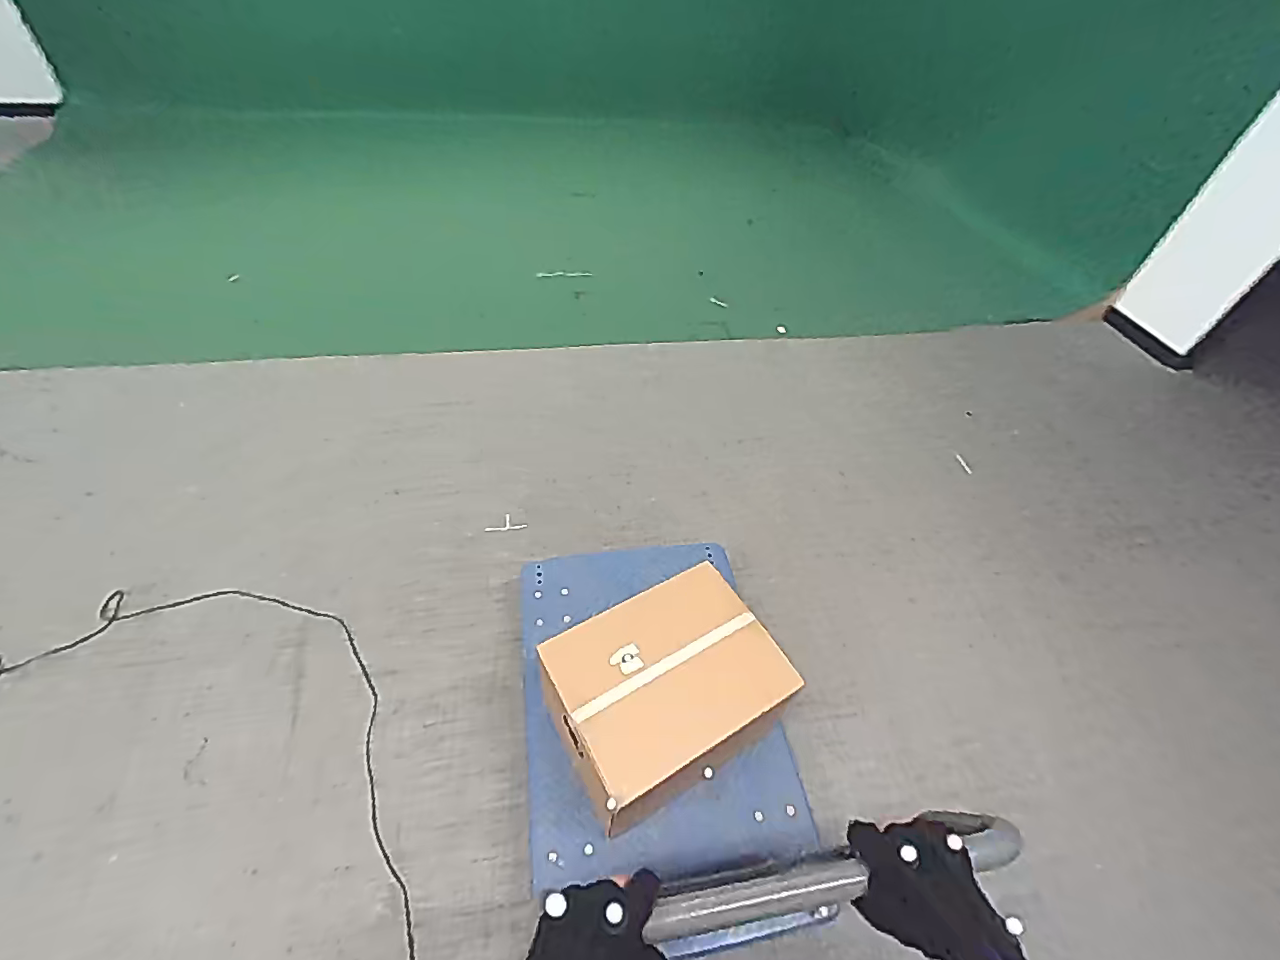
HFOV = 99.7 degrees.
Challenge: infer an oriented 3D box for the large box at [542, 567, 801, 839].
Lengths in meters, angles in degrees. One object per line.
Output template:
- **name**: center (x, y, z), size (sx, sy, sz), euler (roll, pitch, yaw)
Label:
- **large box**: center (0.053, 0.455, 1.124), size (0.408, 0.320, 0.320), euler (-23, 54, -22)
